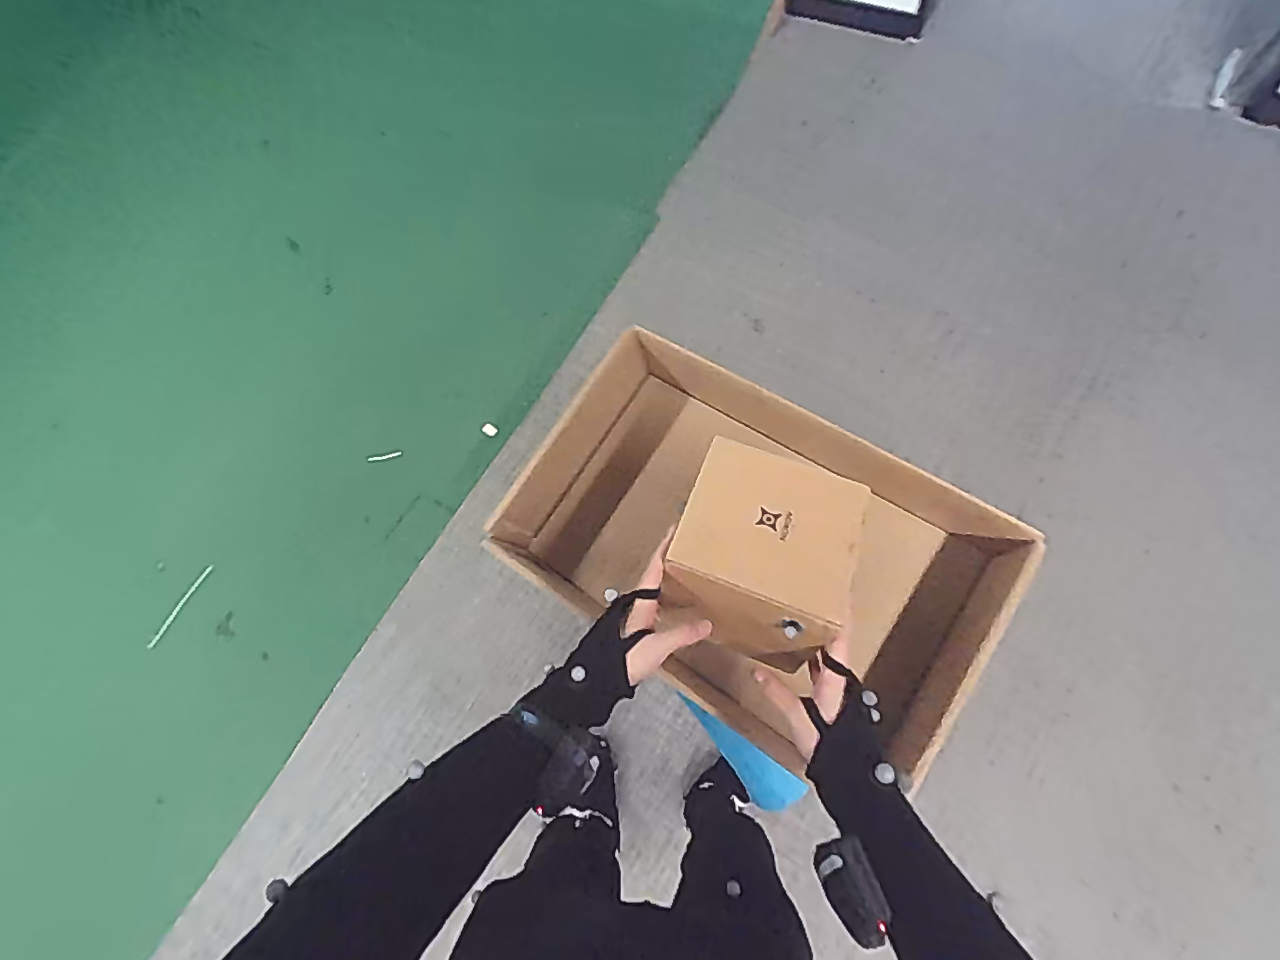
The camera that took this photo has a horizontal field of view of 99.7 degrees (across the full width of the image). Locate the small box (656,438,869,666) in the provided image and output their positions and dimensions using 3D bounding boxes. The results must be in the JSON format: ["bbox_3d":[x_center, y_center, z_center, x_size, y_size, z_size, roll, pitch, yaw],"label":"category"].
[{"bbox_3d":[0.126,0.086,0.603,0.179,0.176,0.168,20,59,8],"label":"small box"}]
